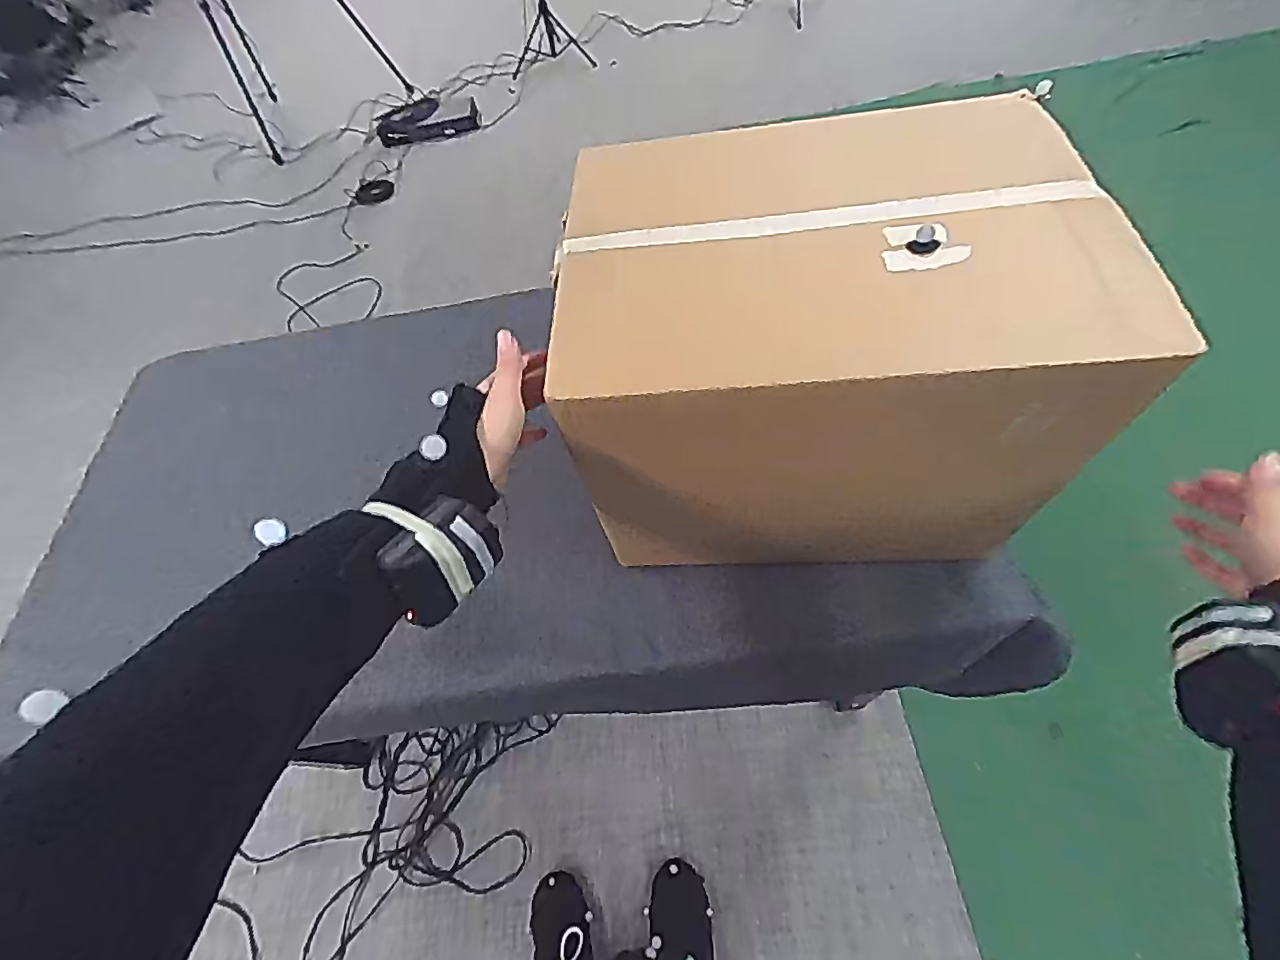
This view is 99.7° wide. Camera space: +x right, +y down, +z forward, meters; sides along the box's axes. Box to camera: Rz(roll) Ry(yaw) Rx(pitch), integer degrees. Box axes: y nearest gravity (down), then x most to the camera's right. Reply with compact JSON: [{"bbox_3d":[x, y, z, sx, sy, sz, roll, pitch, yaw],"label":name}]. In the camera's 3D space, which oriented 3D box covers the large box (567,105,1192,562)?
[{"bbox_3d":[0.162,-0.120,0.554,0.408,0.320,0.320,-2,60,7],"label":"large box"}]
